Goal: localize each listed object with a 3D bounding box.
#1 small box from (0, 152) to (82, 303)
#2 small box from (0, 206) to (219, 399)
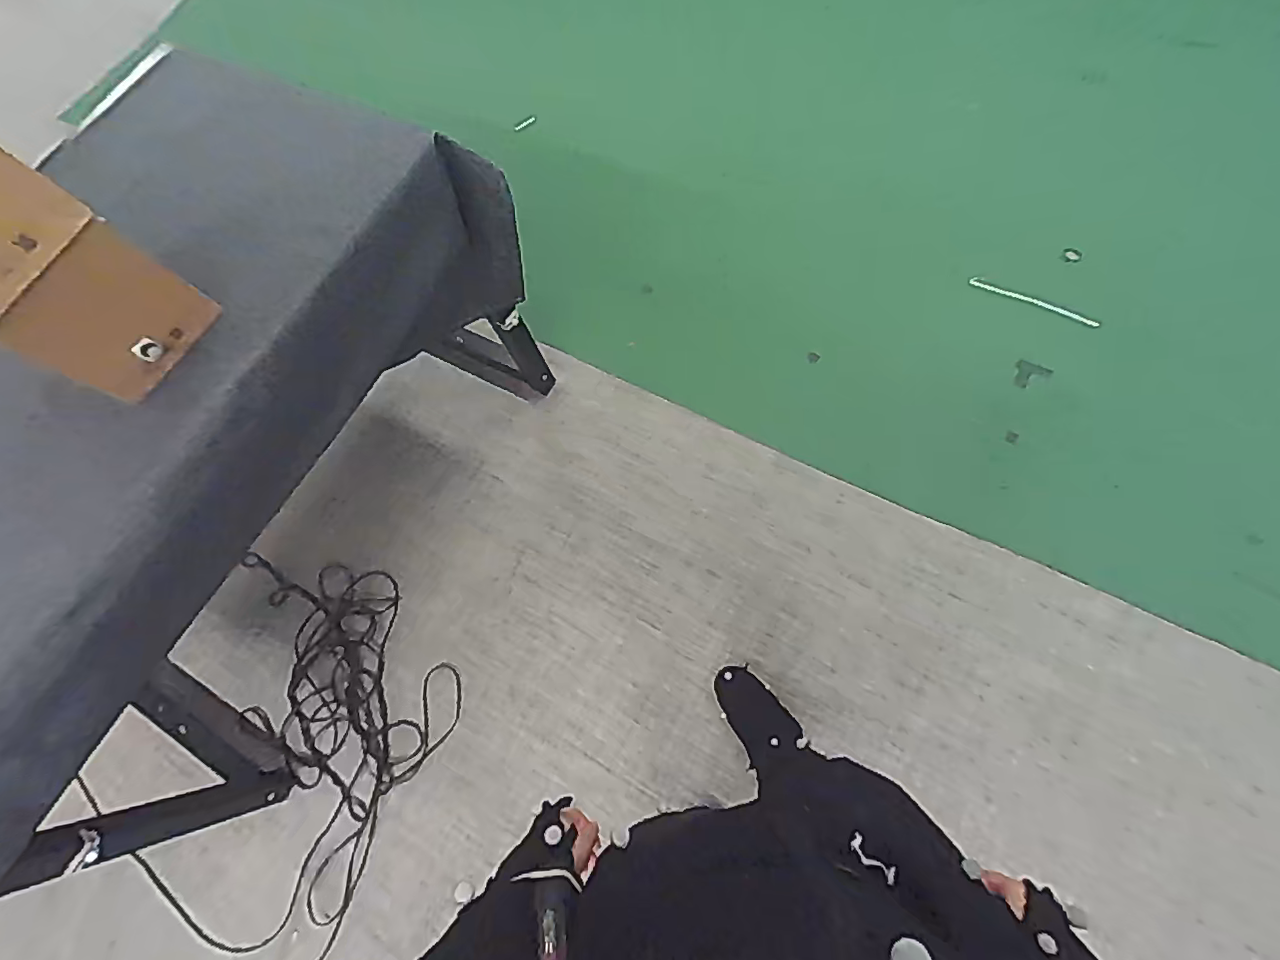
[{"bbox_3d":[-0.692,-0.266,0.494,0.179,0.176,0.168,26,78,16],"label":"small box"},{"bbox_3d":[-0.677,-0.223,0.650,0.179,0.176,0.168,27,78,14],"label":"small box"}]
